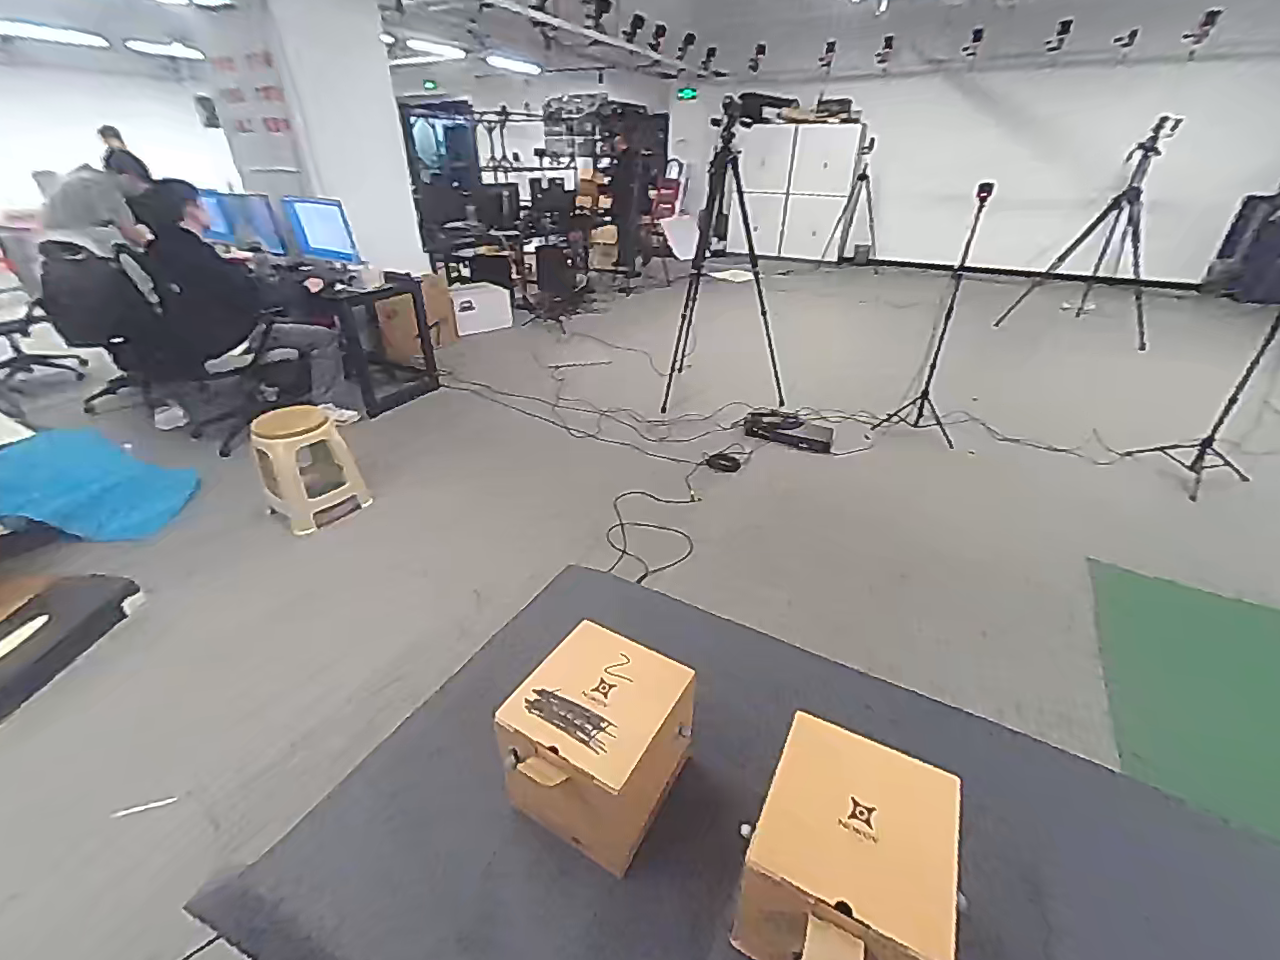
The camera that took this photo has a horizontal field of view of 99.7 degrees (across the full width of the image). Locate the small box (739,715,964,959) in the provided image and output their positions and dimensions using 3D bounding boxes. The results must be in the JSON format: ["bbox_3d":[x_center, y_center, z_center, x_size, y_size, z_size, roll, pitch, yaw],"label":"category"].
[{"bbox_3d":[0.207,0.387,0.544,0.168,0.176,0.179,16,34,24],"label":"small box"}]
